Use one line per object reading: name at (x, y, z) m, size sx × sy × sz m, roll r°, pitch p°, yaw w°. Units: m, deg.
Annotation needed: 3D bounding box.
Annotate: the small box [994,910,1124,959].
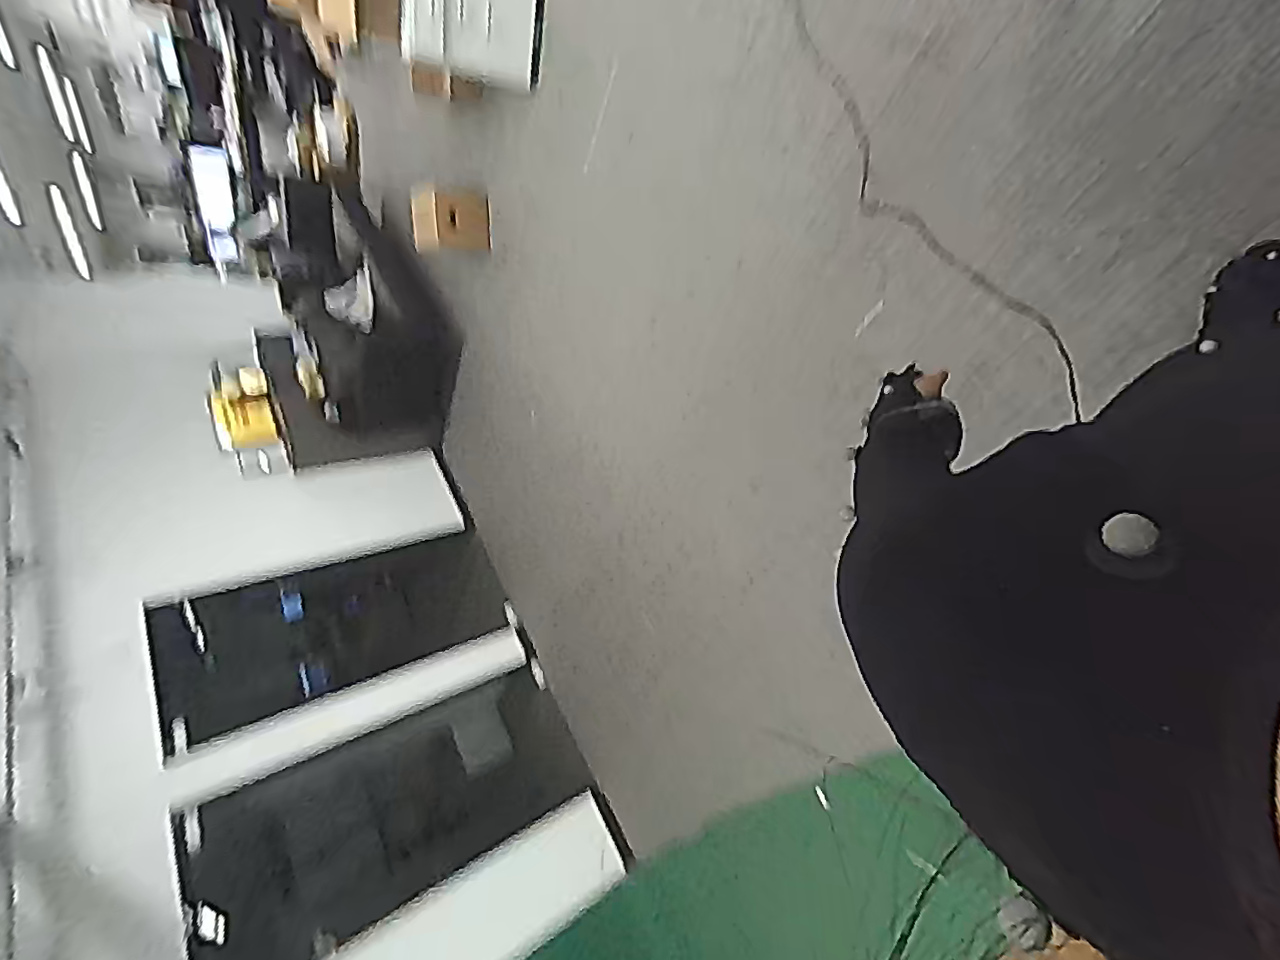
small box at (0.847, 0.993, 1.056) m, size 0.179 × 0.176 × 0.168 m, roll 59°, pitch 141°, yaw 21°
